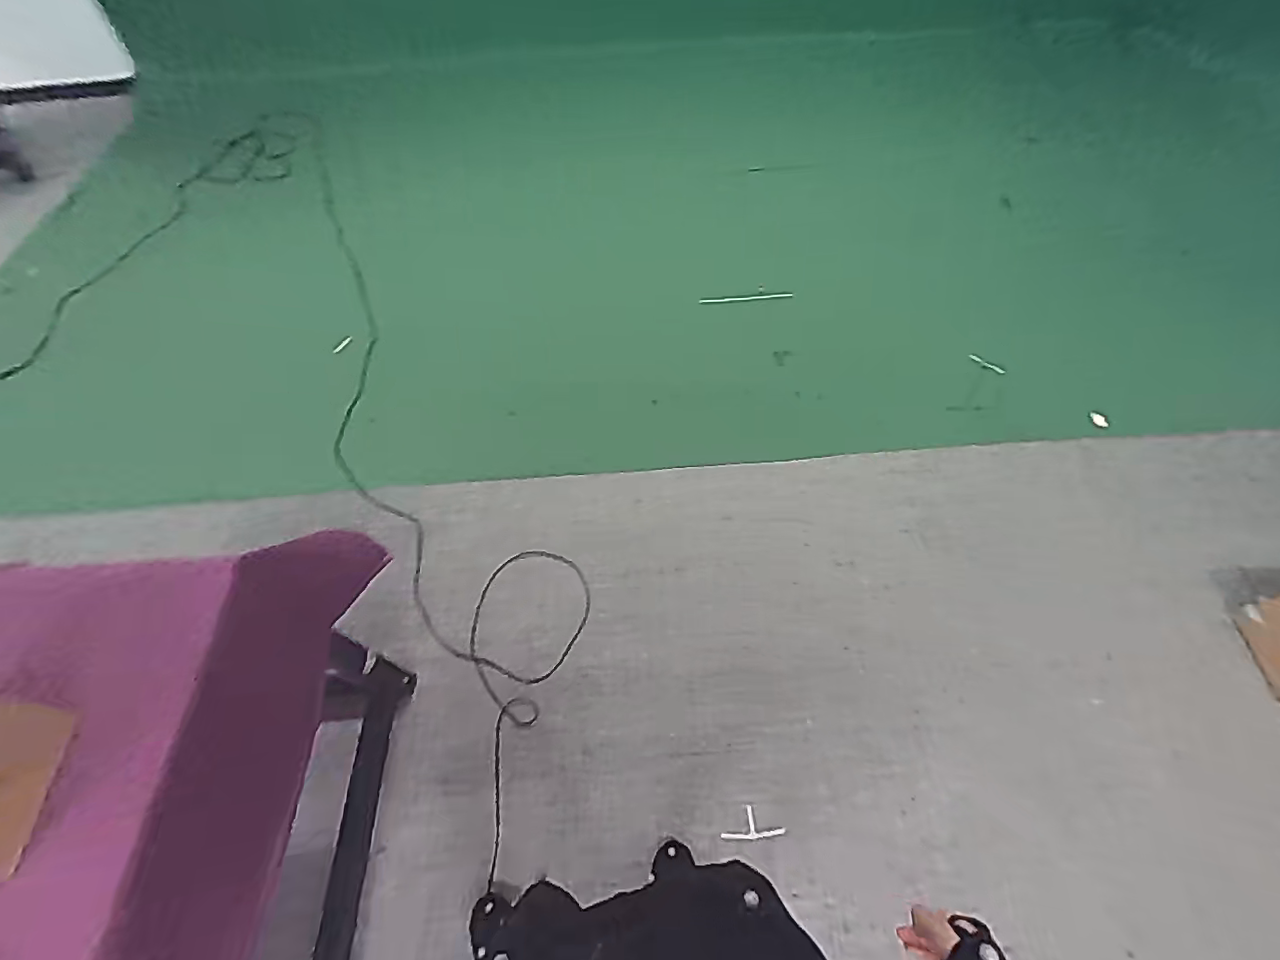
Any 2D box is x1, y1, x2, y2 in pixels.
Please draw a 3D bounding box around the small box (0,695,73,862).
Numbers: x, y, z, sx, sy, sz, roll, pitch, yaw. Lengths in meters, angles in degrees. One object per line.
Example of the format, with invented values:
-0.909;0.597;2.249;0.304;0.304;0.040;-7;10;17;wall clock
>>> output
-0.811;0.336;0.599;0.168;0.176;0.179;-6;58;-1;small box
